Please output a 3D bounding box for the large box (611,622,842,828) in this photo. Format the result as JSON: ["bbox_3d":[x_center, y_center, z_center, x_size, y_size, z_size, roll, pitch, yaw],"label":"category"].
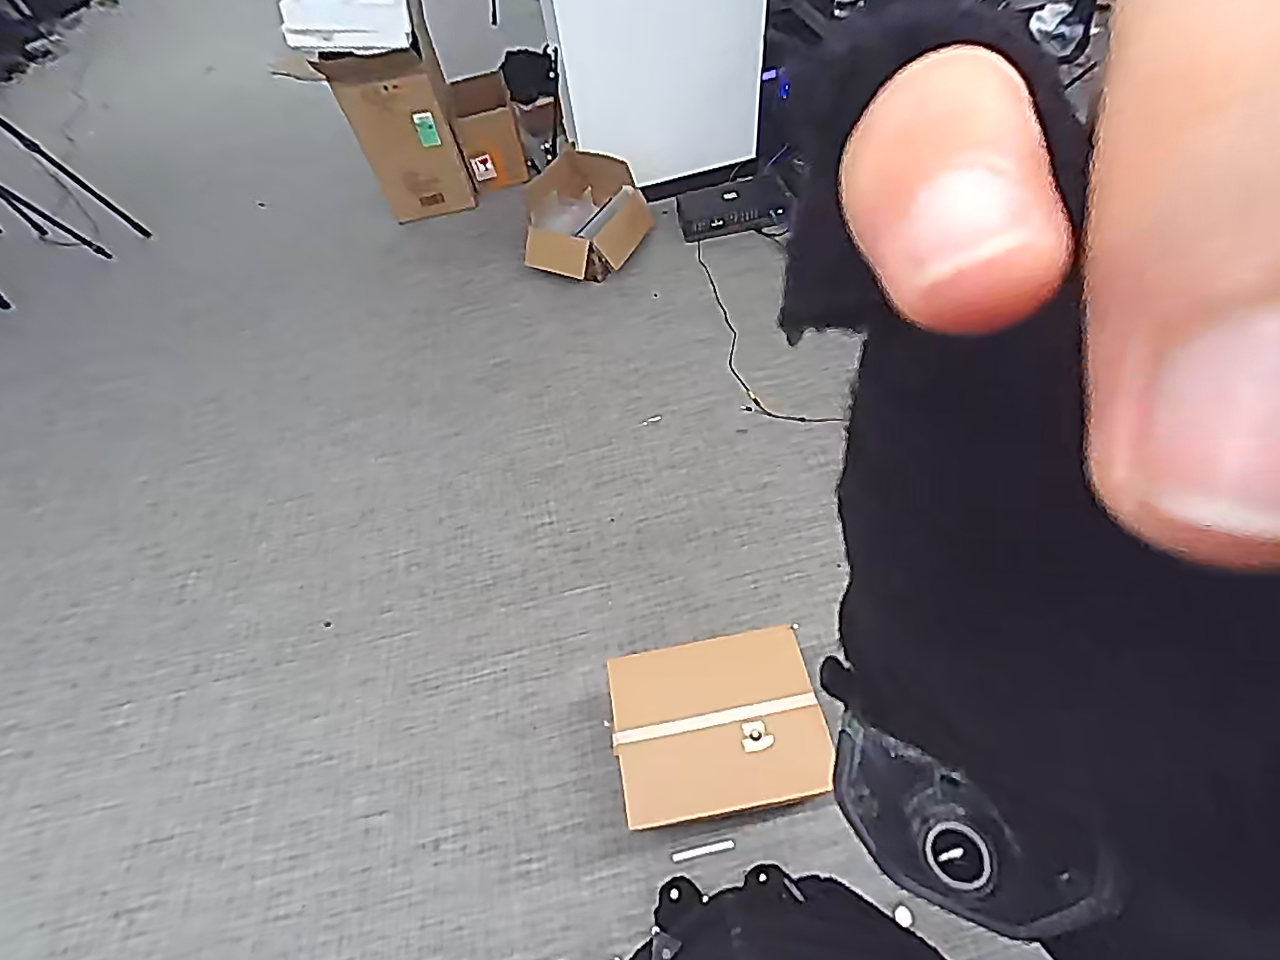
[{"bbox_3d":[0.171,0.551,1.200,0.408,0.320,0.320,-11,56,0],"label":"large box"}]
